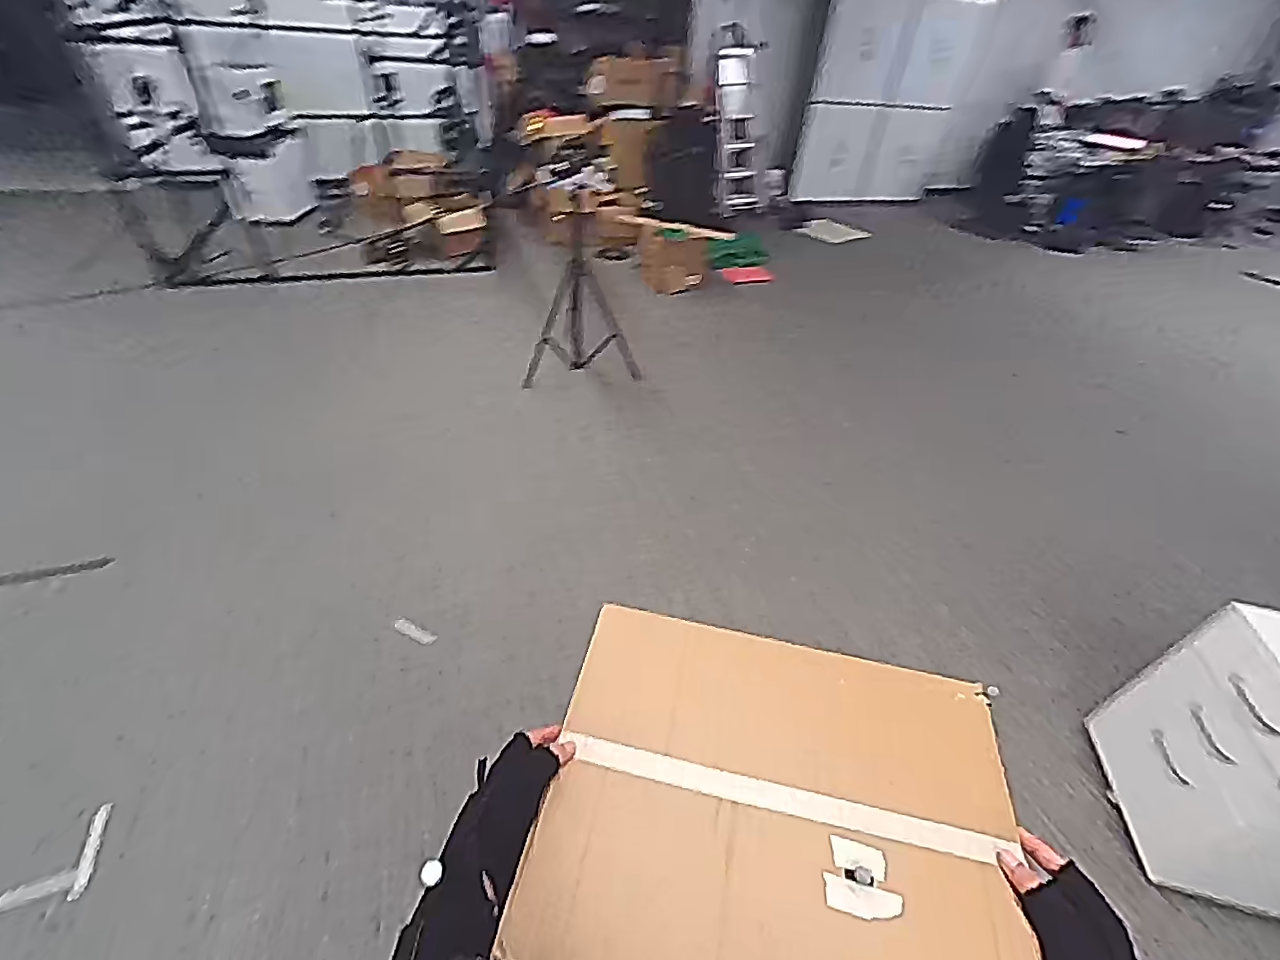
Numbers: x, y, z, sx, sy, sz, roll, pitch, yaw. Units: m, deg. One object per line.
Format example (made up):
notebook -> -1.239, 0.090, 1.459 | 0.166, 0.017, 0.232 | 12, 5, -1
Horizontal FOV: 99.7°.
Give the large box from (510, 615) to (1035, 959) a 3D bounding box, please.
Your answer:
large box -> 0.115, 0.394, 0.589 | 0.408, 0.320, 0.320 | 10, 45, 7
